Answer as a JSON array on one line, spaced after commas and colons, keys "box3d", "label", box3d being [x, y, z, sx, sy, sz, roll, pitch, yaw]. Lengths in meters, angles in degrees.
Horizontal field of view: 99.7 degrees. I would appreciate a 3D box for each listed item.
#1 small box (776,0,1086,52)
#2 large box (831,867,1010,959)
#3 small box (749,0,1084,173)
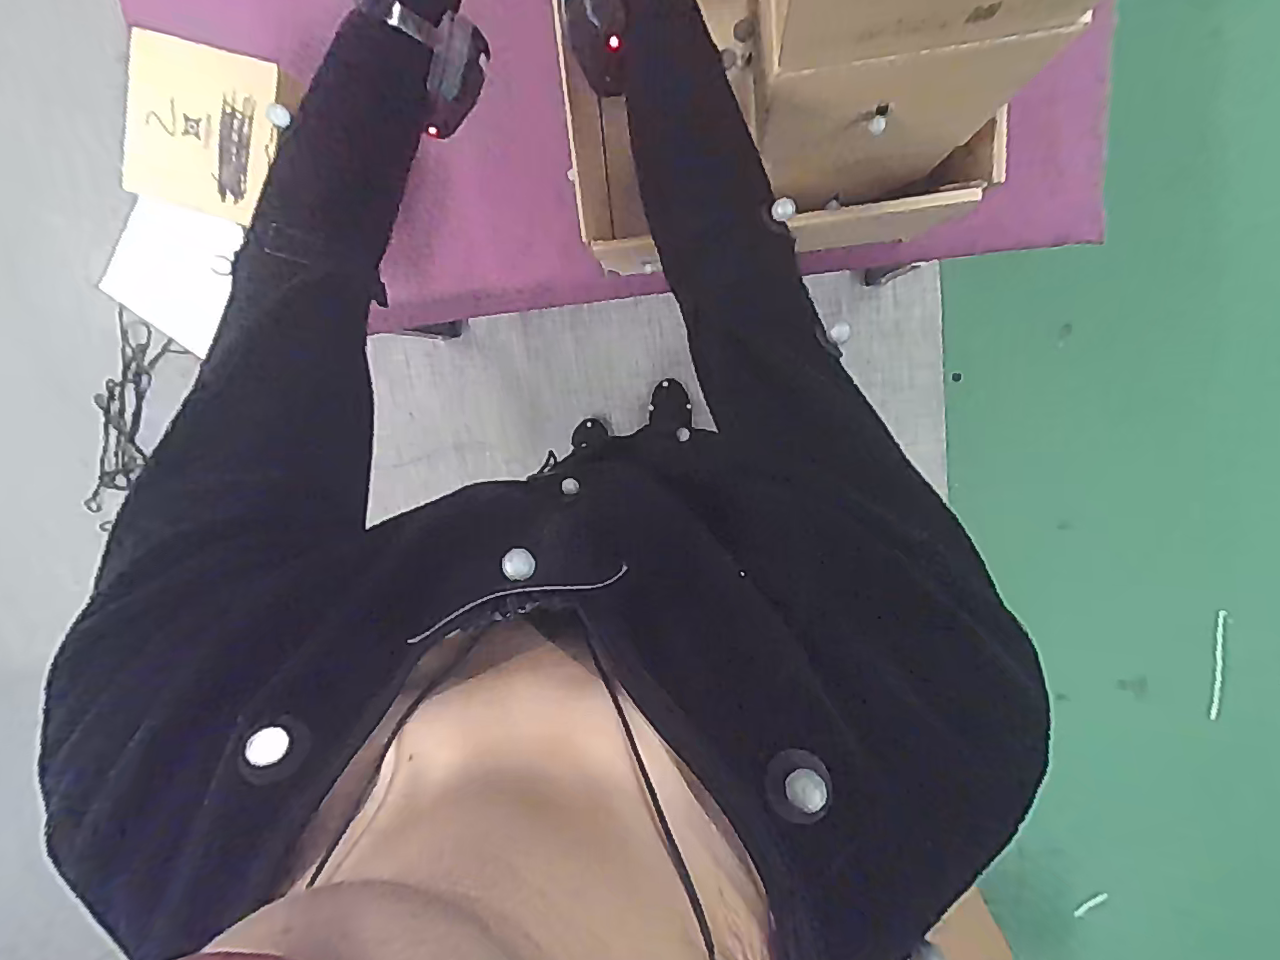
[{"box3d": [0.146, -0.318, 0.222, 0.168, 0.176, 0.179, -2, 100, 8], "label": "small box"}, {"box3d": [0.816, 1.393, 1.528, 0.408, 0.320, 0.320, -21, 98, 8], "label": "large box"}, {"box3d": [0.171, -0.341, 0.382, 0.179, 0.176, 0.168, -2, 100, 10], "label": "small box"}]
